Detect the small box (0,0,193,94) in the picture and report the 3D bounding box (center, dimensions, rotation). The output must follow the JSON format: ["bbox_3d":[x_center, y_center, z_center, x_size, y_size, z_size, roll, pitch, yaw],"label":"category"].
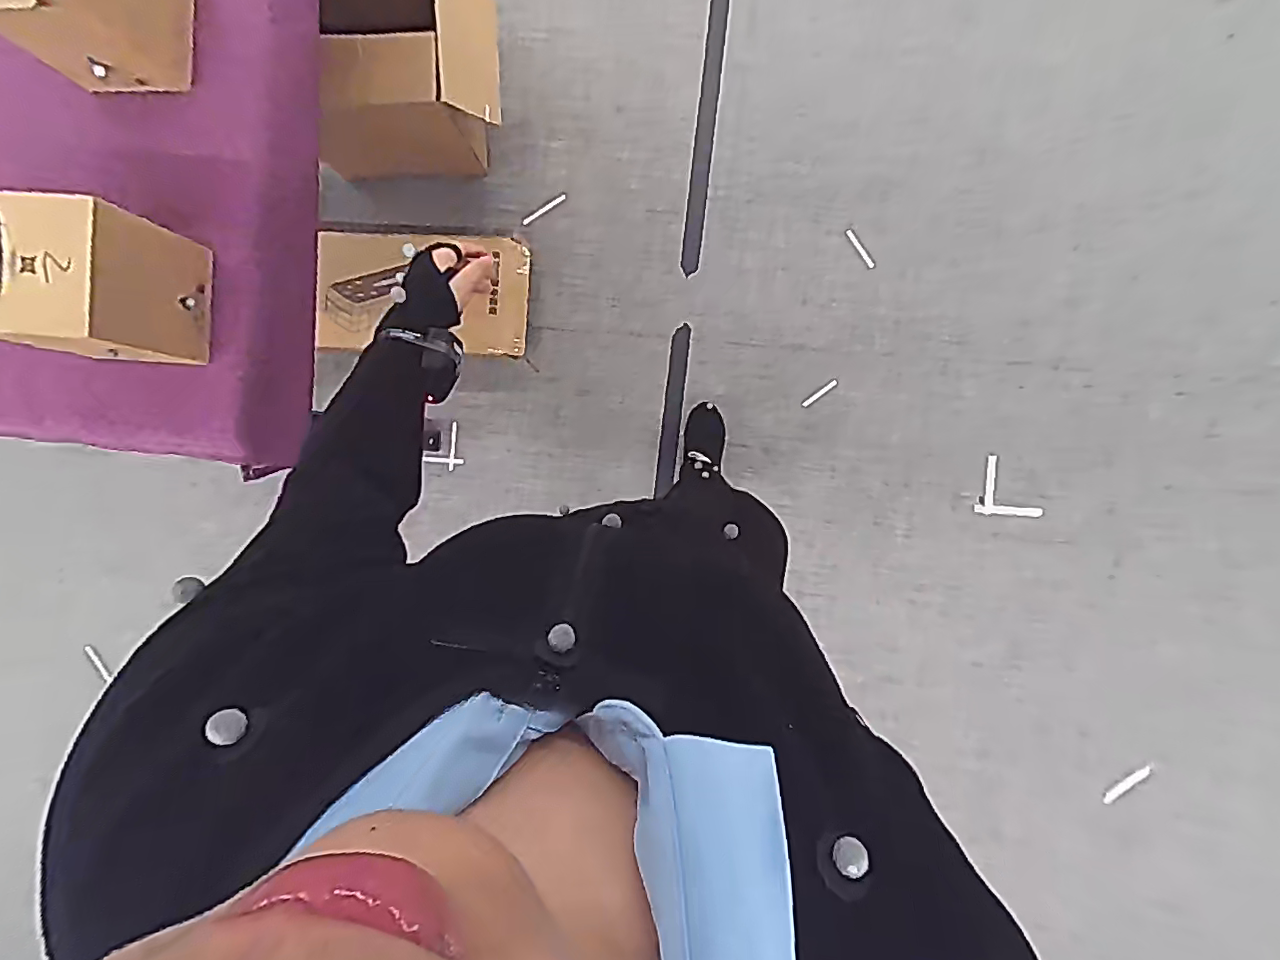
[{"bbox_3d":[-0.723,-0.643,0.695,0.168,0.176,0.179,4,91,6],"label":"small box"}]
